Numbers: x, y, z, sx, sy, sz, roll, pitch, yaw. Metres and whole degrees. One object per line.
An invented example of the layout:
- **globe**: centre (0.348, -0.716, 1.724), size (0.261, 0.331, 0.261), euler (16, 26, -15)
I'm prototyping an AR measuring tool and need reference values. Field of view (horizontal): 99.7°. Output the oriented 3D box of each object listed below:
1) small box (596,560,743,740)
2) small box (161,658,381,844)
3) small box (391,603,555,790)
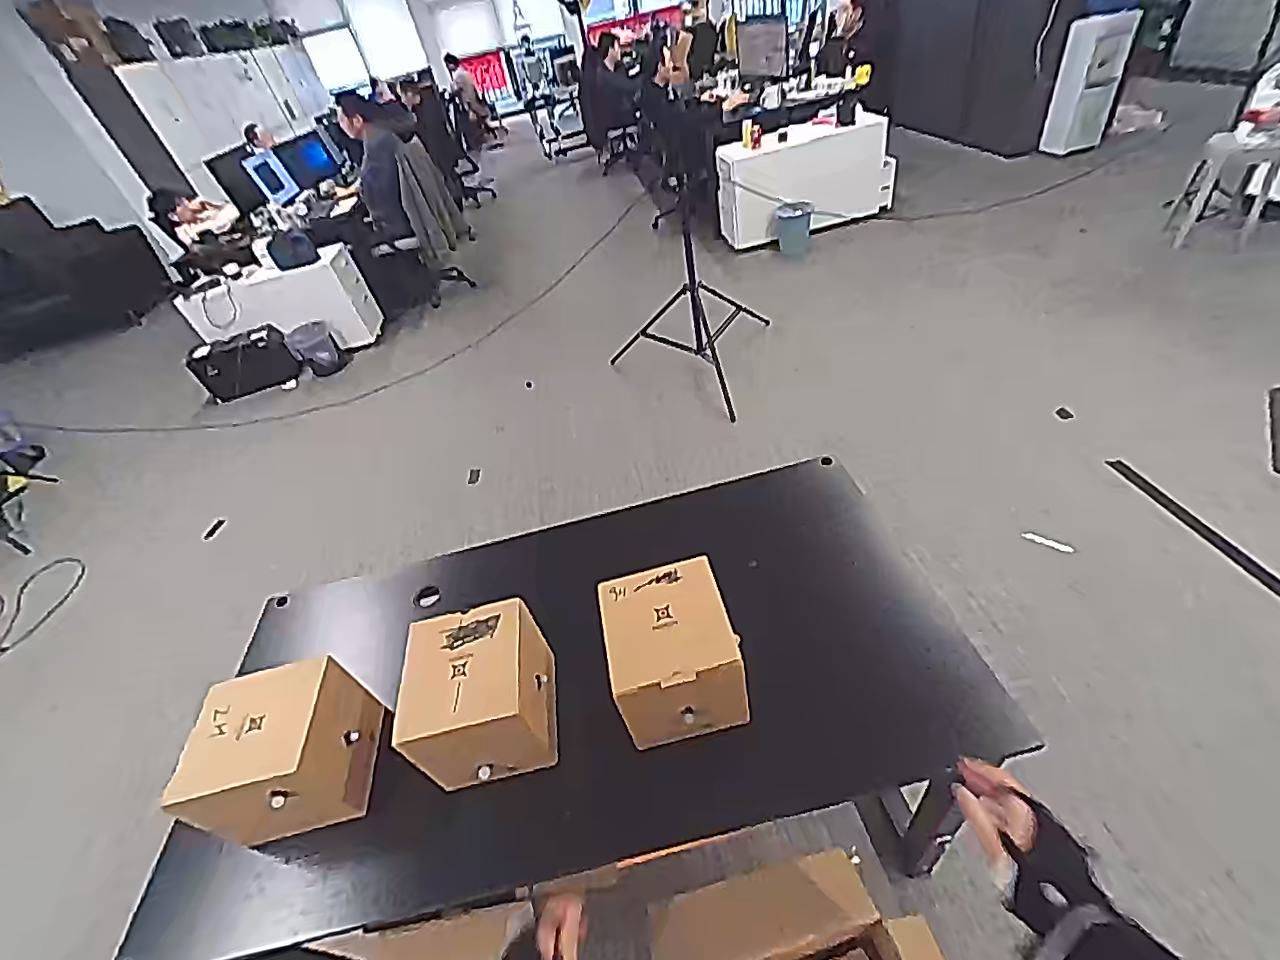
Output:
- **small box**: centre (0.043, 0.250, 0.775), size (0.168, 0.176, 0.179), euler (-15, 42, 0)
- **small box**: centre (-0.501, 0.387, 0.771), size (0.179, 0.176, 0.168), euler (-15, 41, -1)
- **small box**: centre (-0.226, 0.311, 0.781), size (0.168, 0.176, 0.179), euler (-14, 42, 0)
